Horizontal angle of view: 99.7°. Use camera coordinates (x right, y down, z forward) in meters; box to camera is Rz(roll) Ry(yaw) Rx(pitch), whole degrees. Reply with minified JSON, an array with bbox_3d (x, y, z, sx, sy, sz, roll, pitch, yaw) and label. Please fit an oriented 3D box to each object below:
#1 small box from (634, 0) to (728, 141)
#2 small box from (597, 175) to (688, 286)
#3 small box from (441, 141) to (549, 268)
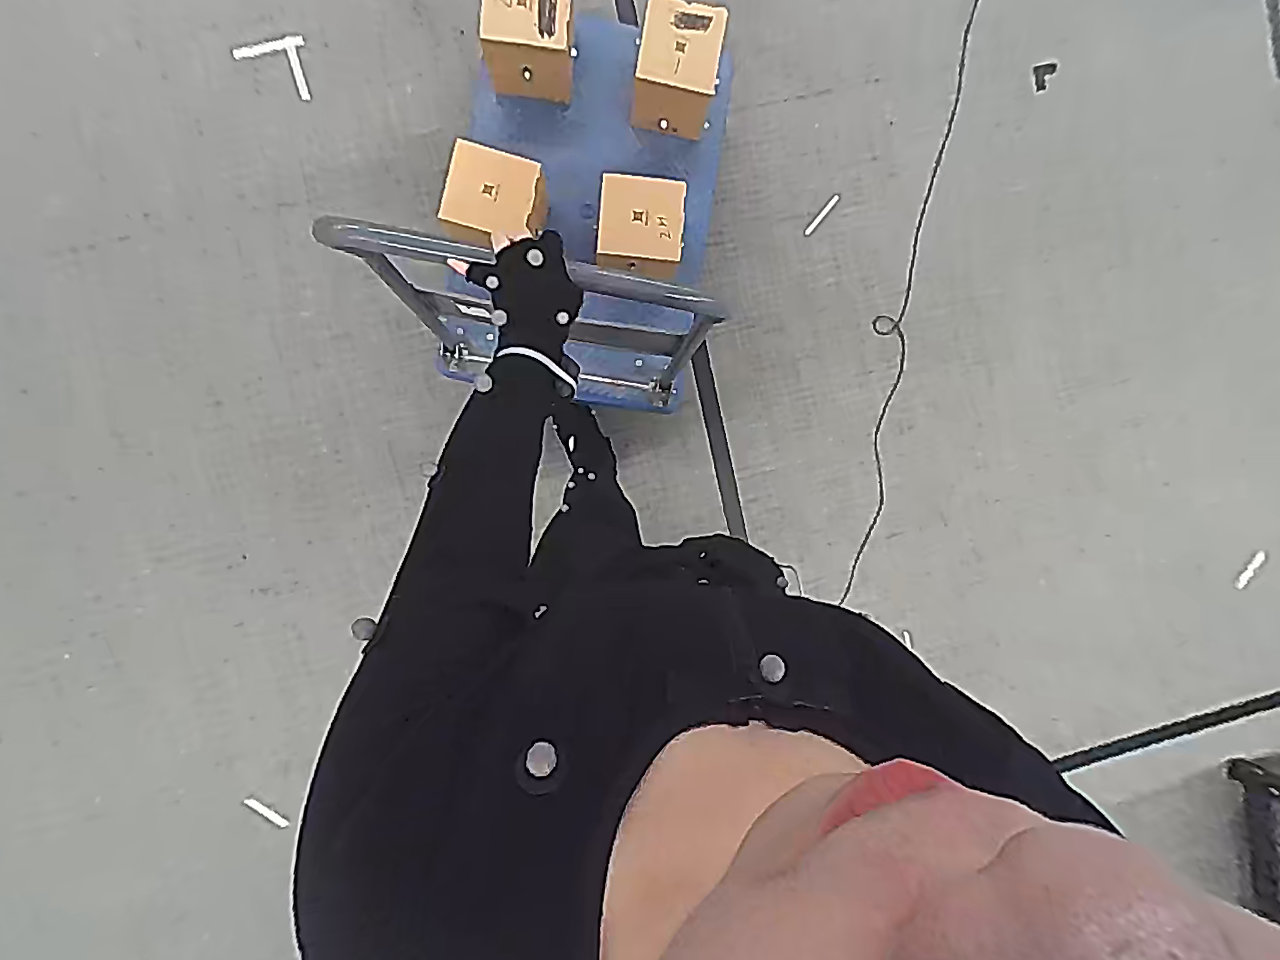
[{"bbox_3d":[0.081,-0.891,1.183,0.168,0.176,0.179,10,92,-4],"label":"small box"},{"bbox_3d":[0.001,-0.539,1.189,0.179,0.176,0.168,5,92,-4],"label":"small box"},{"bbox_3d":[-0.303,-0.581,1.166,0.179,0.176,0.168,13,91,-6],"label":"small box"}]
